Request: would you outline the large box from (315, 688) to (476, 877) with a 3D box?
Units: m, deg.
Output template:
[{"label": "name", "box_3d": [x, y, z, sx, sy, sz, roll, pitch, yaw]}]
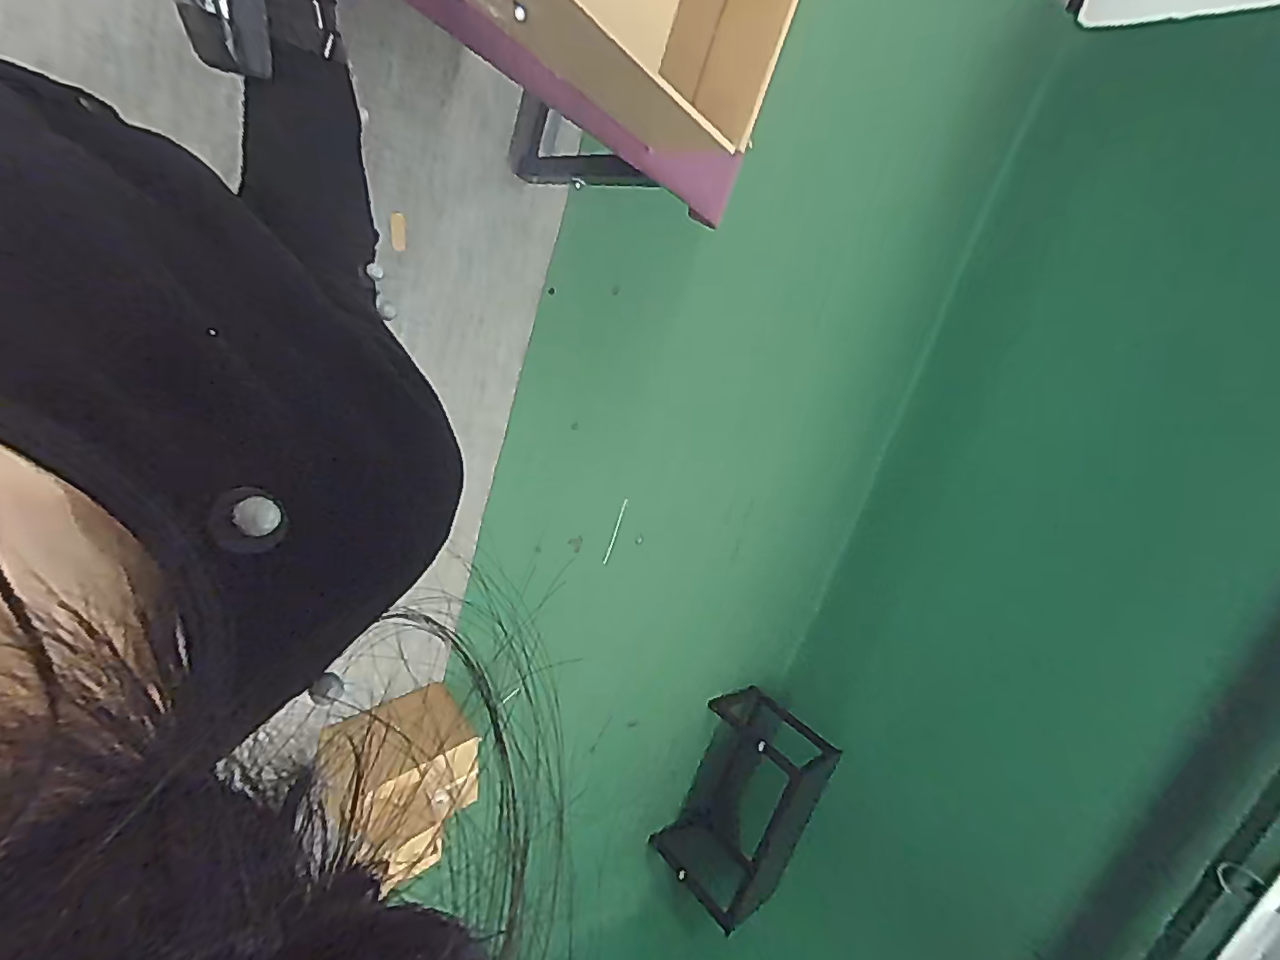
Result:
[{"label": "large box", "box_3d": [-0.809, 0.982, 1.811, 0.408, 0.320, 0.320, -14, 121, -42]}]

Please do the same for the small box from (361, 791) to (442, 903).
[{"label": "small box", "box_3d": [-0.705, 1.068, 1.588, 0.179, 0.176, 0.168, -8, 116, -43]}]
